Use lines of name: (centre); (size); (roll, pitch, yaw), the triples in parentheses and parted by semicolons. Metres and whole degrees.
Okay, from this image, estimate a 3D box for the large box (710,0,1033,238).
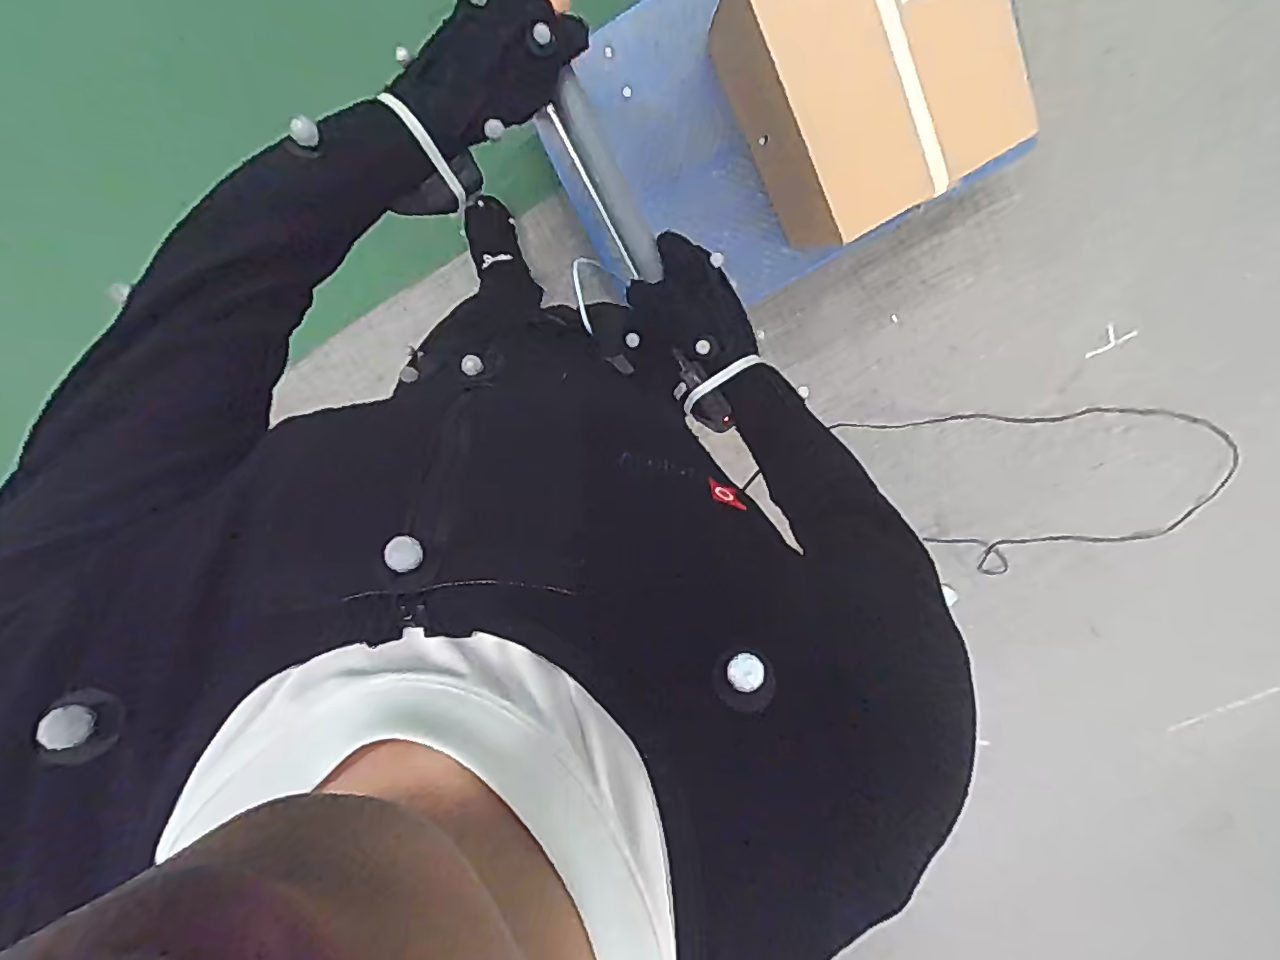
large box: (0.355, -0.673, 0.901); (0.320, 0.320, 0.408); (-28, 110, 10)
